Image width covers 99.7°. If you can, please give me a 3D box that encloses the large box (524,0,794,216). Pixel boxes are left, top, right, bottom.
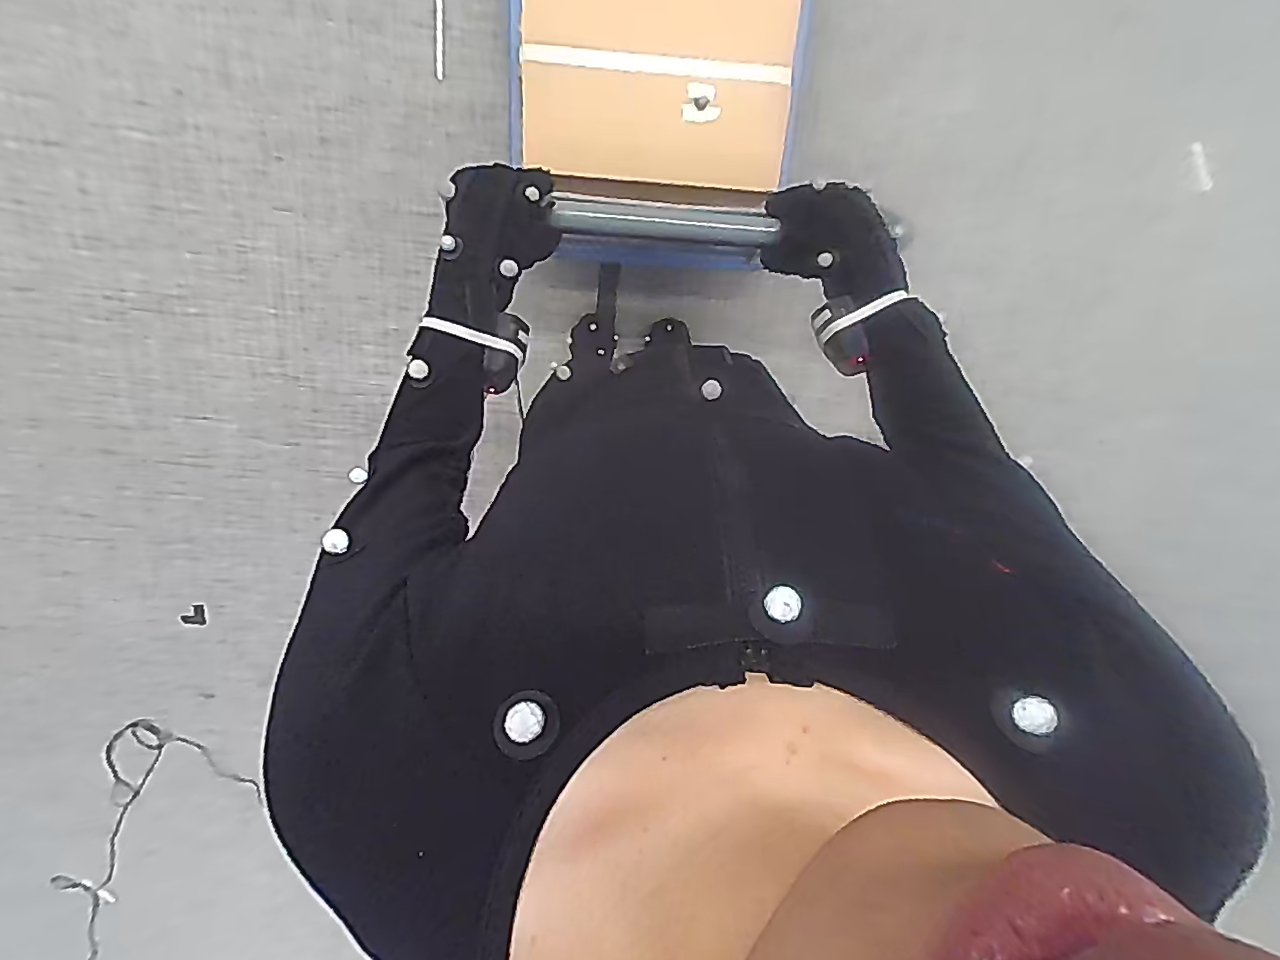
[{"bbox_3d":[0.017,-0.671,0.961,0.408,0.320,0.320,2,108,-4],"label":"large box"}]
